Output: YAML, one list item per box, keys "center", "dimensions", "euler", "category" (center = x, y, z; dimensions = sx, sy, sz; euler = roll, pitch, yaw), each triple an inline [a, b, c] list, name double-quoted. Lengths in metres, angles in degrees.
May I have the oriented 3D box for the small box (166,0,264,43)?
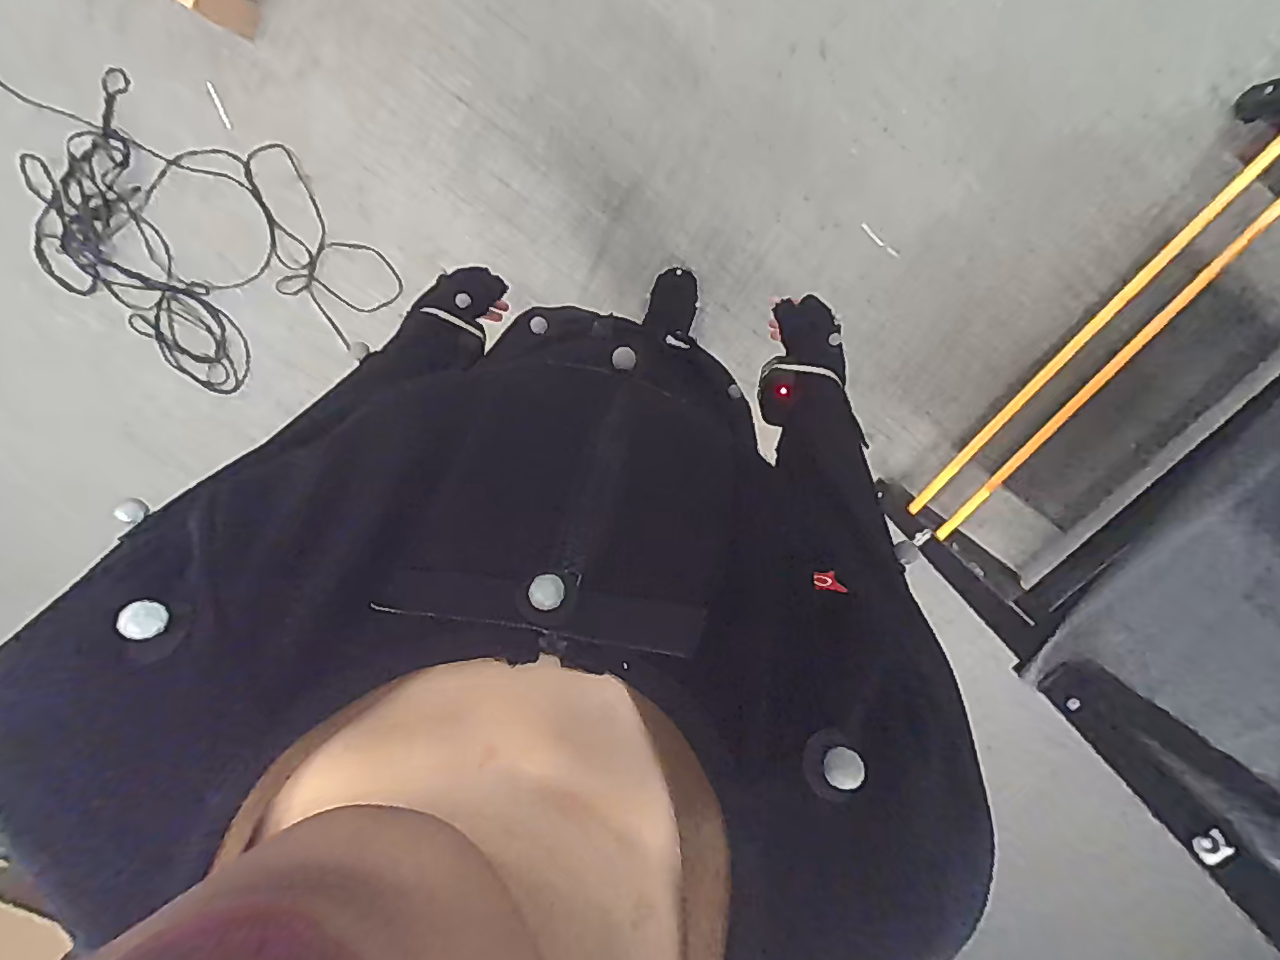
- center: [-0.887, -1.021, 1.069]
  dimensions: [0.179, 0.176, 0.168]
  euler: [28, 110, -9]
  category: "small box"
